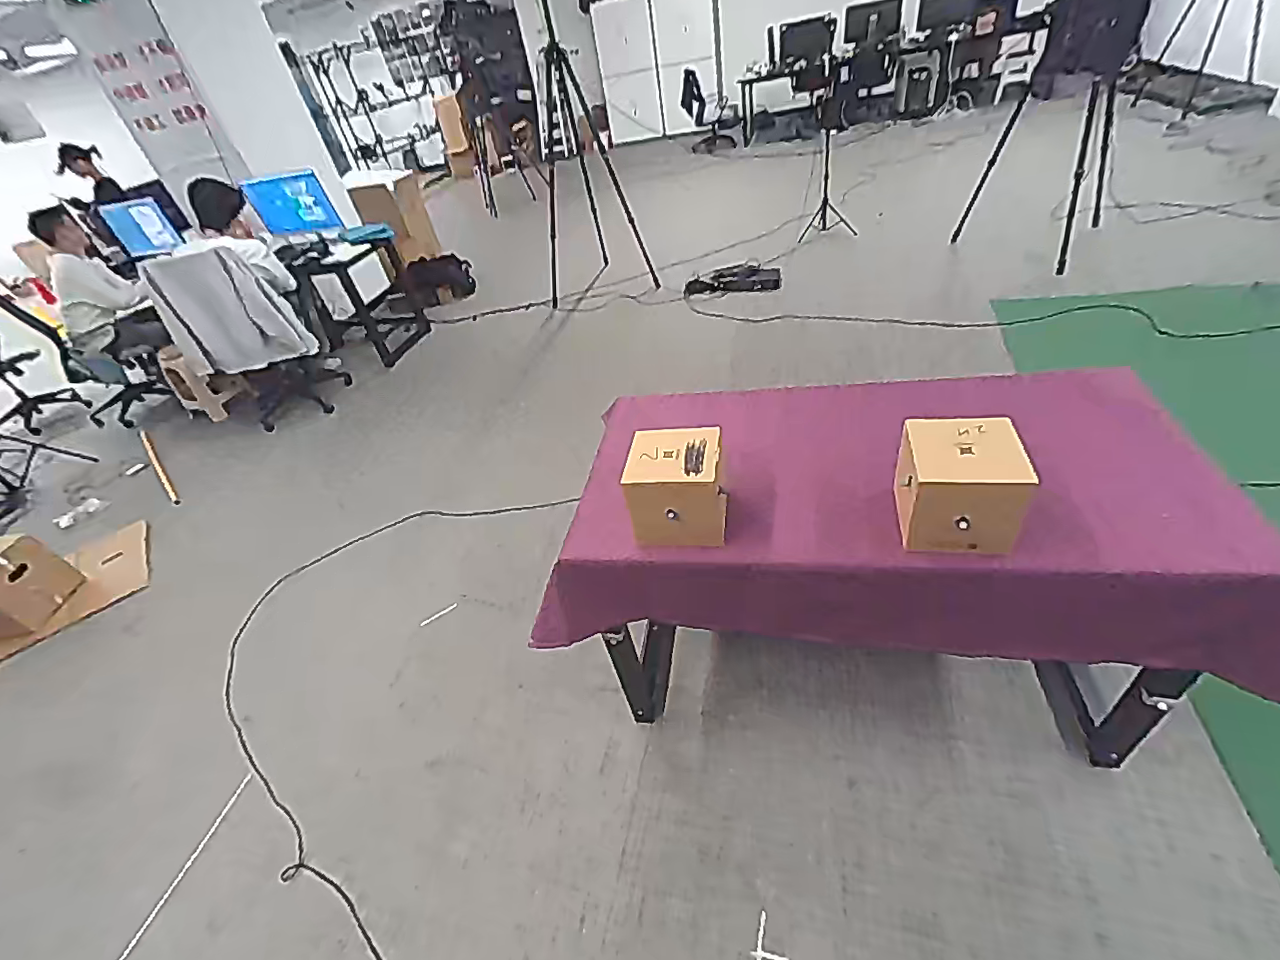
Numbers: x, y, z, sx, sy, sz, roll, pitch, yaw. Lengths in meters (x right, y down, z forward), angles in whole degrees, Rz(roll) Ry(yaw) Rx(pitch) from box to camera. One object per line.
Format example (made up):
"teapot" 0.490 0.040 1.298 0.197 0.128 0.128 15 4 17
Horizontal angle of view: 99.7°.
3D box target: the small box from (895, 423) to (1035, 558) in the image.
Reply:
"small box" 0.553 0.018 0.946 0.168 0.176 0.179 2 41 16
